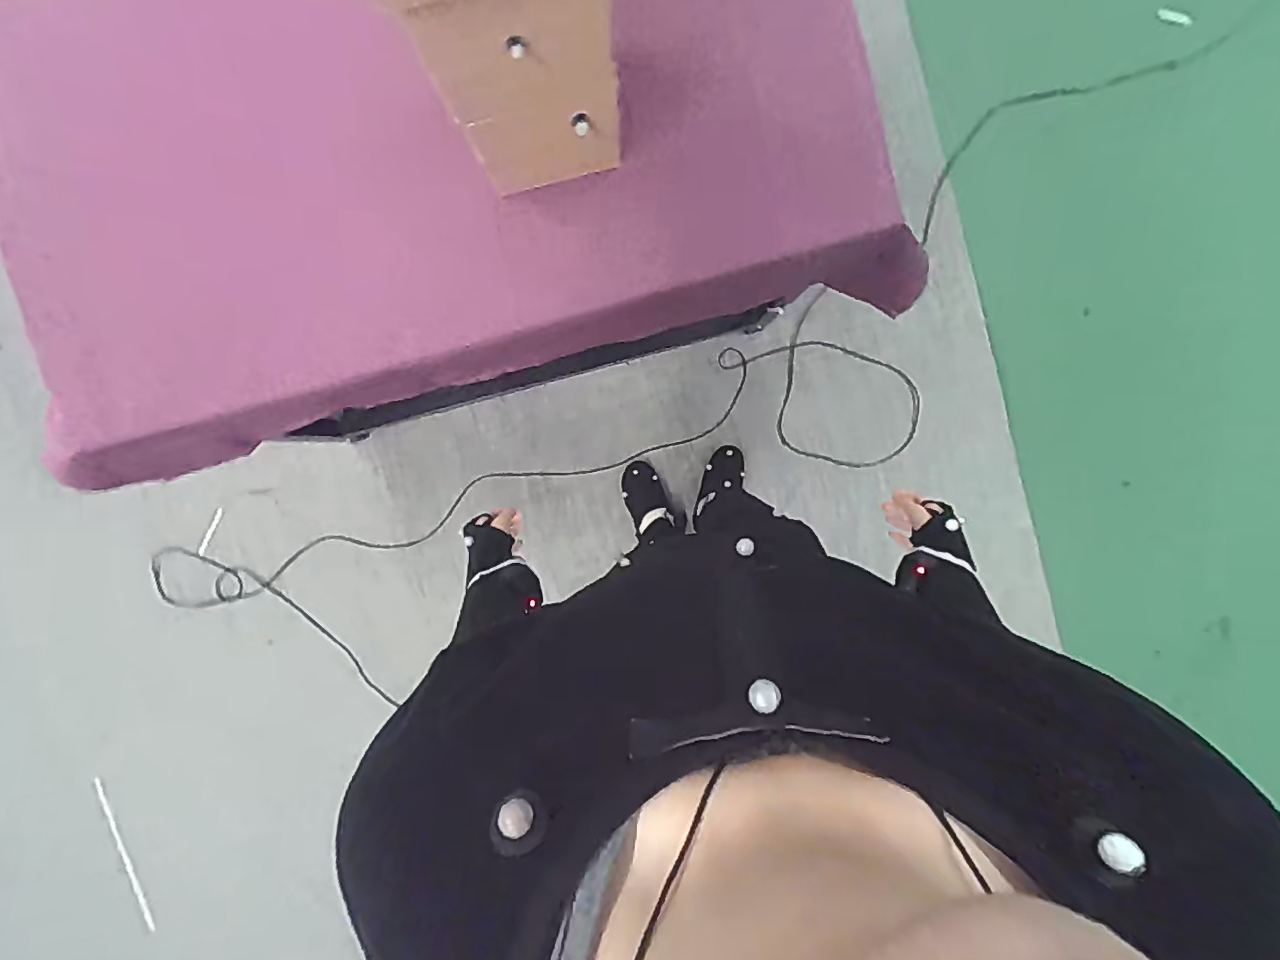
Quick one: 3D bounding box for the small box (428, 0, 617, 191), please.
[{"bbox_3d":[-0.130,-0.484,0.654,0.179,0.176,0.168,-15,93,0],"label":"small box"}]
